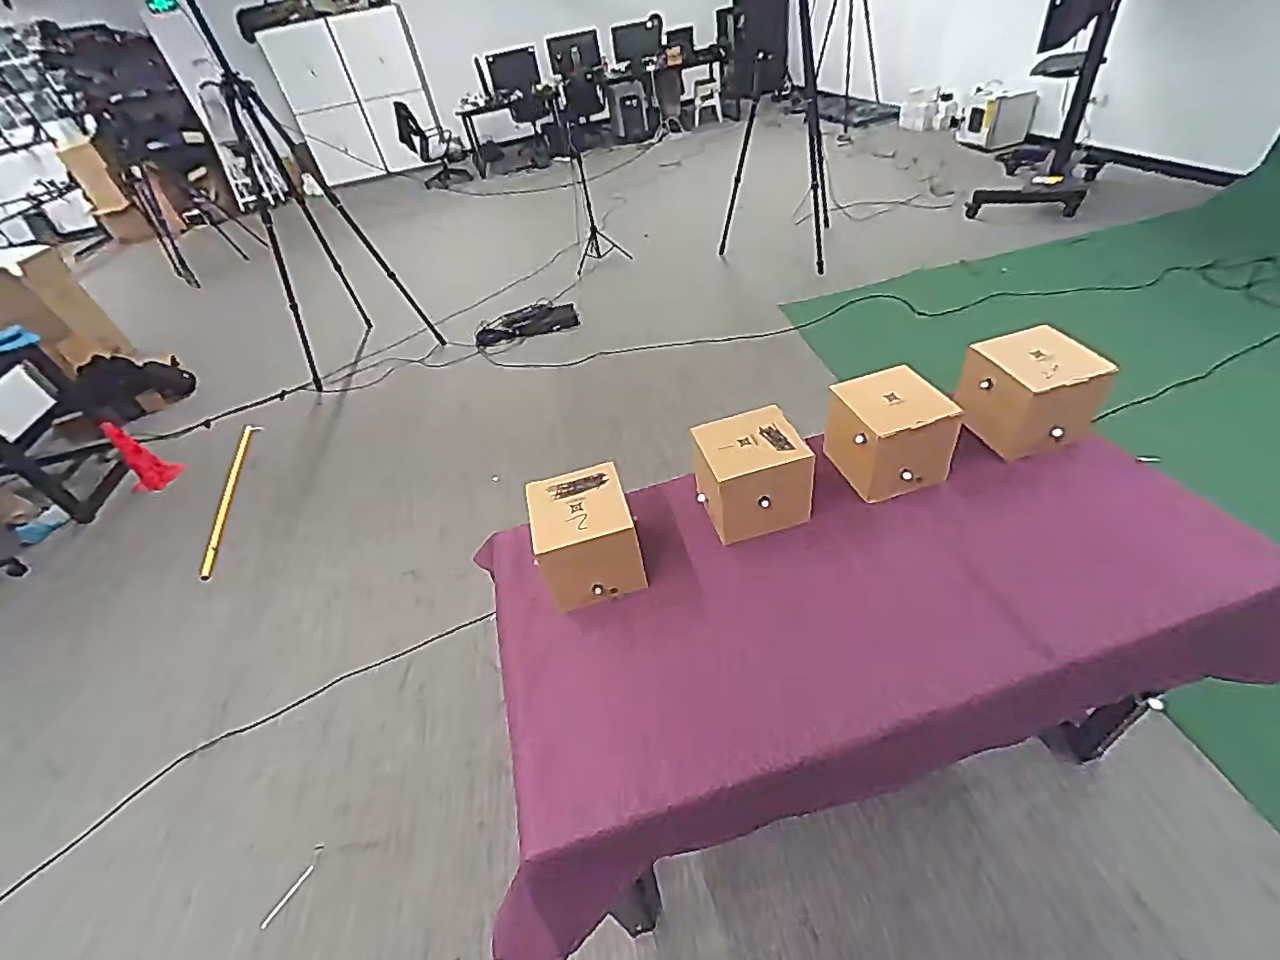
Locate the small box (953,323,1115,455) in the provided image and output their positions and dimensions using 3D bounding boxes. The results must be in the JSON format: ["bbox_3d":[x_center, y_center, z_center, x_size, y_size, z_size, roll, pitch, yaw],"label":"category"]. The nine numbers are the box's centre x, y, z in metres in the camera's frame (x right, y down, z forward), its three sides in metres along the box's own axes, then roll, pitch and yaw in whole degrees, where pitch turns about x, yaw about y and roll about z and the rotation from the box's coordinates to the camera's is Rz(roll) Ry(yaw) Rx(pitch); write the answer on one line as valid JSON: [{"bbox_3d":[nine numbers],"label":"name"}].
[{"bbox_3d":[0.752,-0.177,1.062,0.168,0.176,0.179,-16,45,-2],"label":"small box"}]

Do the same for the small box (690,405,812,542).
[{"bbox_3d":[0.206,-0.011,1.024,0.179,0.176,0.168,-17,42,-3],"label":"small box"}]

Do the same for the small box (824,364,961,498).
[{"bbox_3d":[0.475,-0.094,1.050,0.168,0.176,0.179,-17,43,-5],"label":"small box"}]
